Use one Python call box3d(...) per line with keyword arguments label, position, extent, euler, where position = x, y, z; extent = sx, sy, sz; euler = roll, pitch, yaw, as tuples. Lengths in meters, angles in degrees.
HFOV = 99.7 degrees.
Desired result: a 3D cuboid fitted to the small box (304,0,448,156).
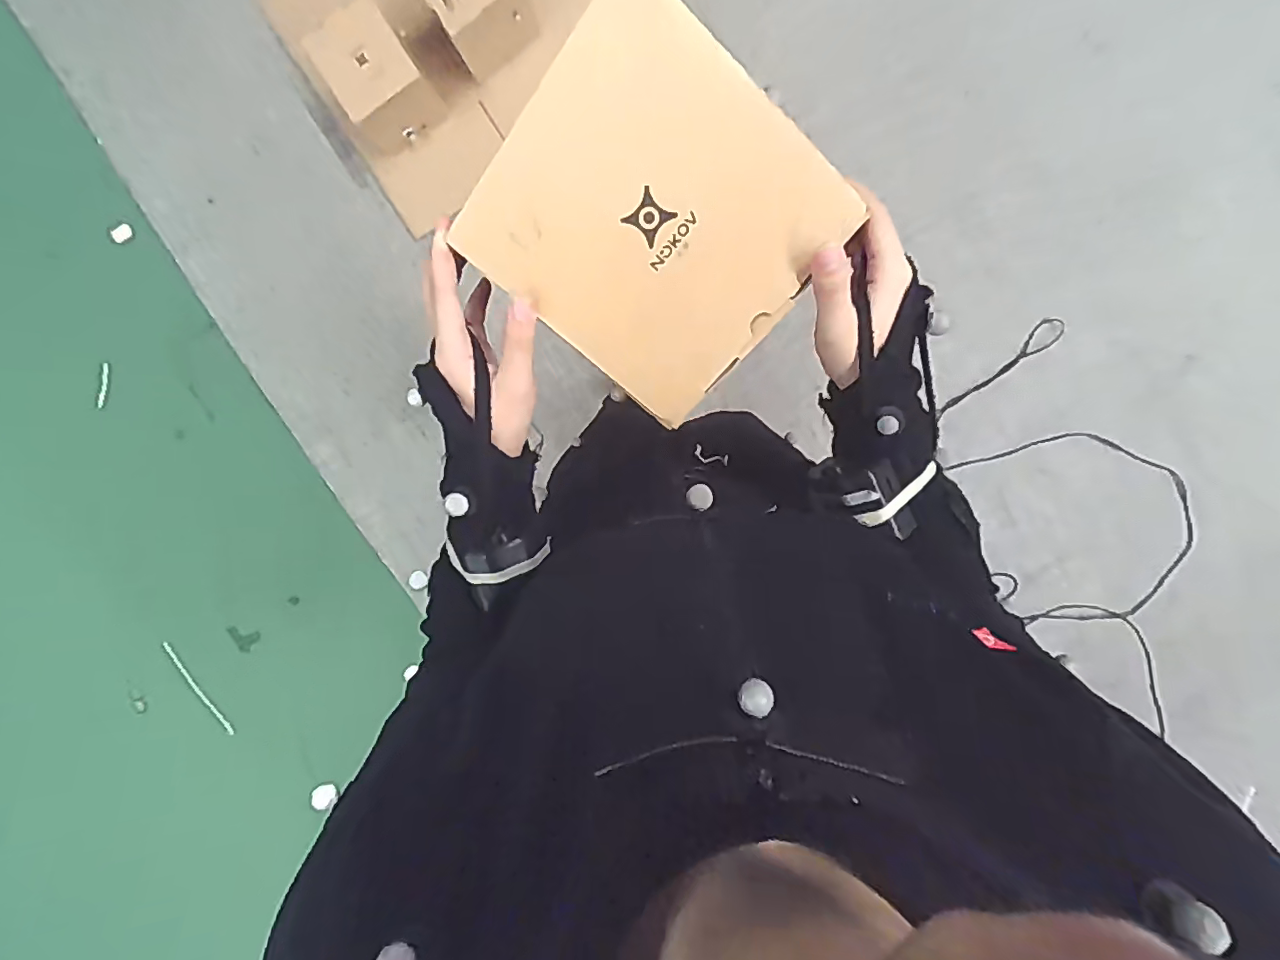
box3d(label="small box", position=(-0.537, -0.824, 1.124), extent=(0.168, 0.176, 0.179), euler=(-32, 98, 7))
